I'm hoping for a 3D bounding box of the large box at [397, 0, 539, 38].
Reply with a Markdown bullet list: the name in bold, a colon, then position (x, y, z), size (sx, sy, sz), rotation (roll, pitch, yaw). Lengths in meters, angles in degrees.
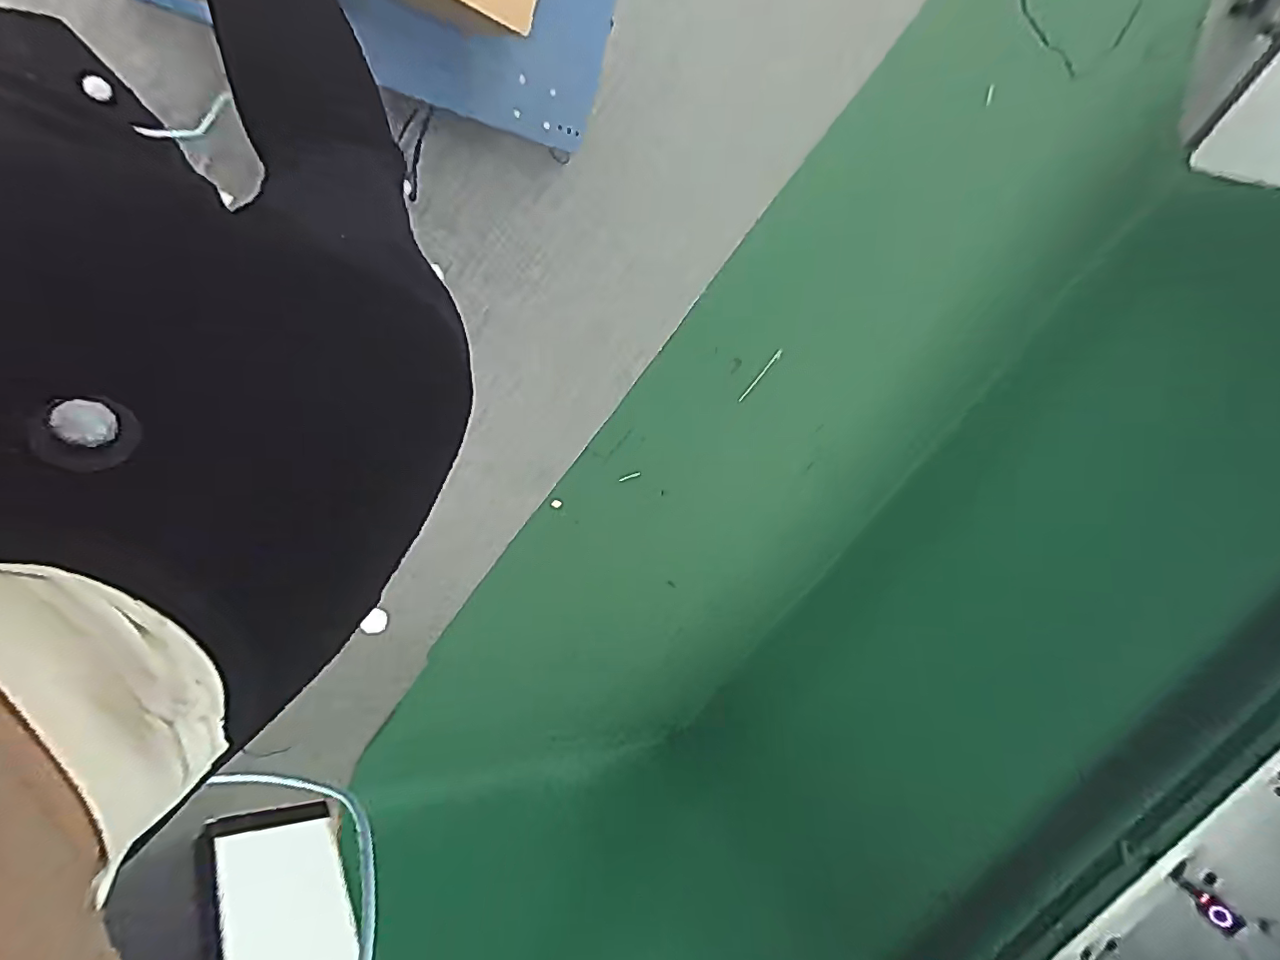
- **large box**: position (-0.377, -0.964, 0.839), size (0.408, 0.320, 0.320), rotation (-4, 126, -42)
